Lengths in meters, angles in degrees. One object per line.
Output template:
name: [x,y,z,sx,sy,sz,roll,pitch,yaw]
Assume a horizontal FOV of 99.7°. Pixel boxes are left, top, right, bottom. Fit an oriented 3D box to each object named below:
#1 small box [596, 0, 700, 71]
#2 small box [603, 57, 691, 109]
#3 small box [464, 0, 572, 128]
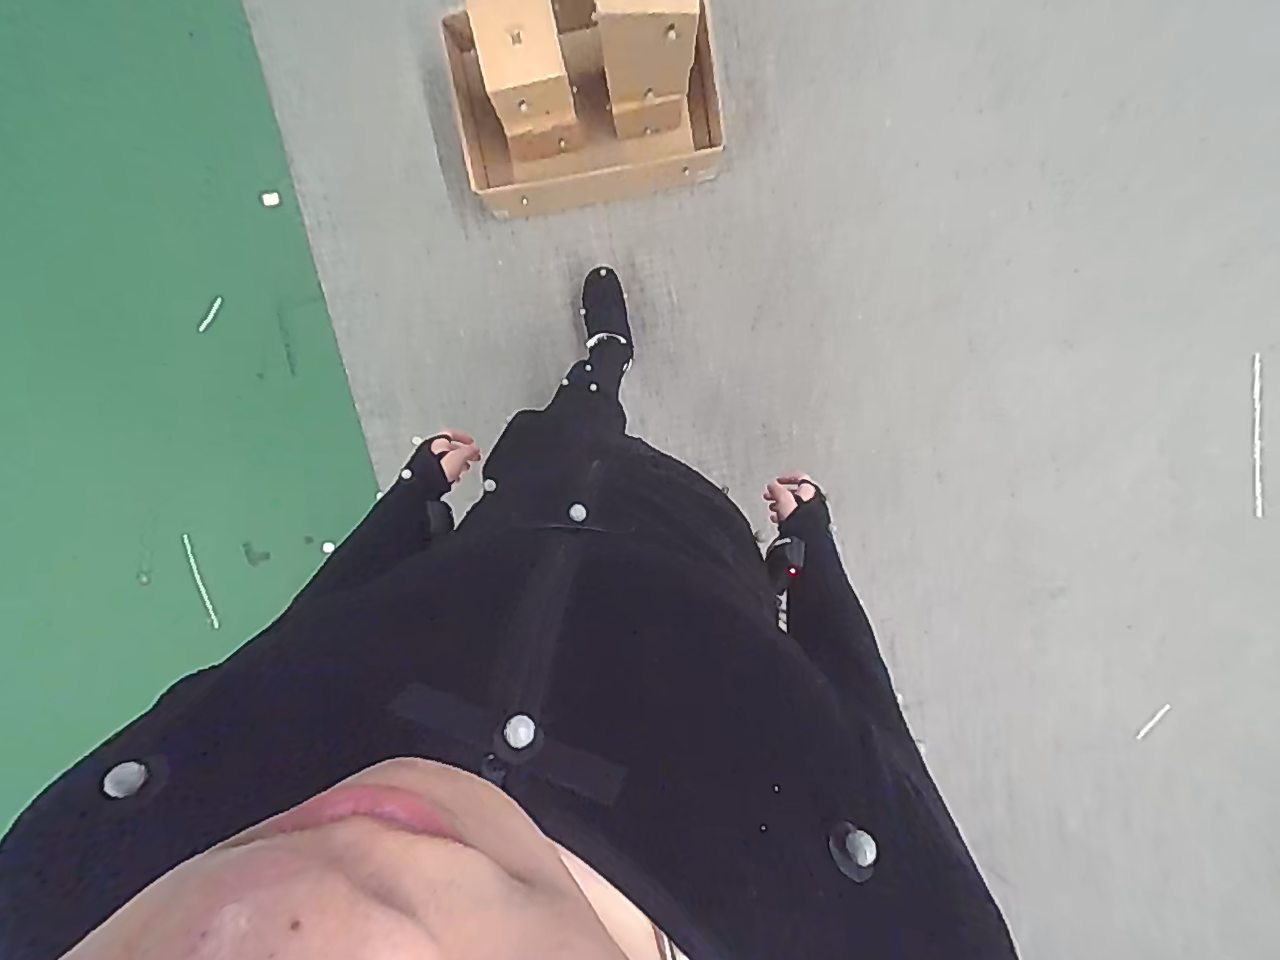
small box: [0.015,-0.868,0.968,0.179,0.176,0.168,1,101,2]
small box: [0.007,-0.911,1.129,0.179,0.176,0.168,-6,101,3]
small box: [-0.247,-0.879,1.144,0.168,0.176,0.179,-12,100,1]
